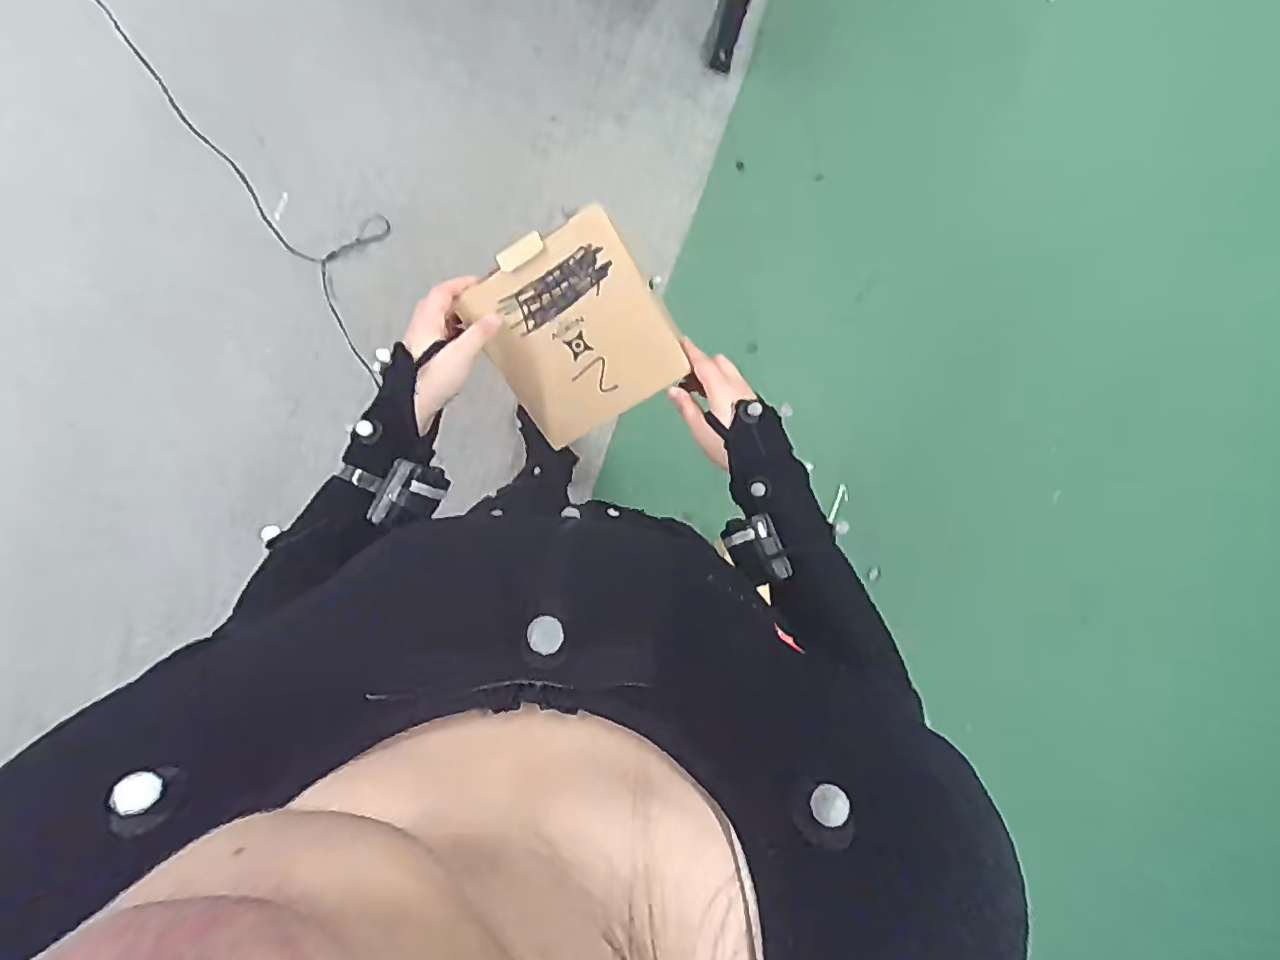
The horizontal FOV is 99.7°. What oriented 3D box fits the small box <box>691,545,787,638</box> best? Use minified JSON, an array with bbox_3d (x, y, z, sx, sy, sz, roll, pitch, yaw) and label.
[{"bbox_3d":[0.251,0.284,1.429,0.179,0.176,0.168,27,92,-5],"label":"small box"}]
